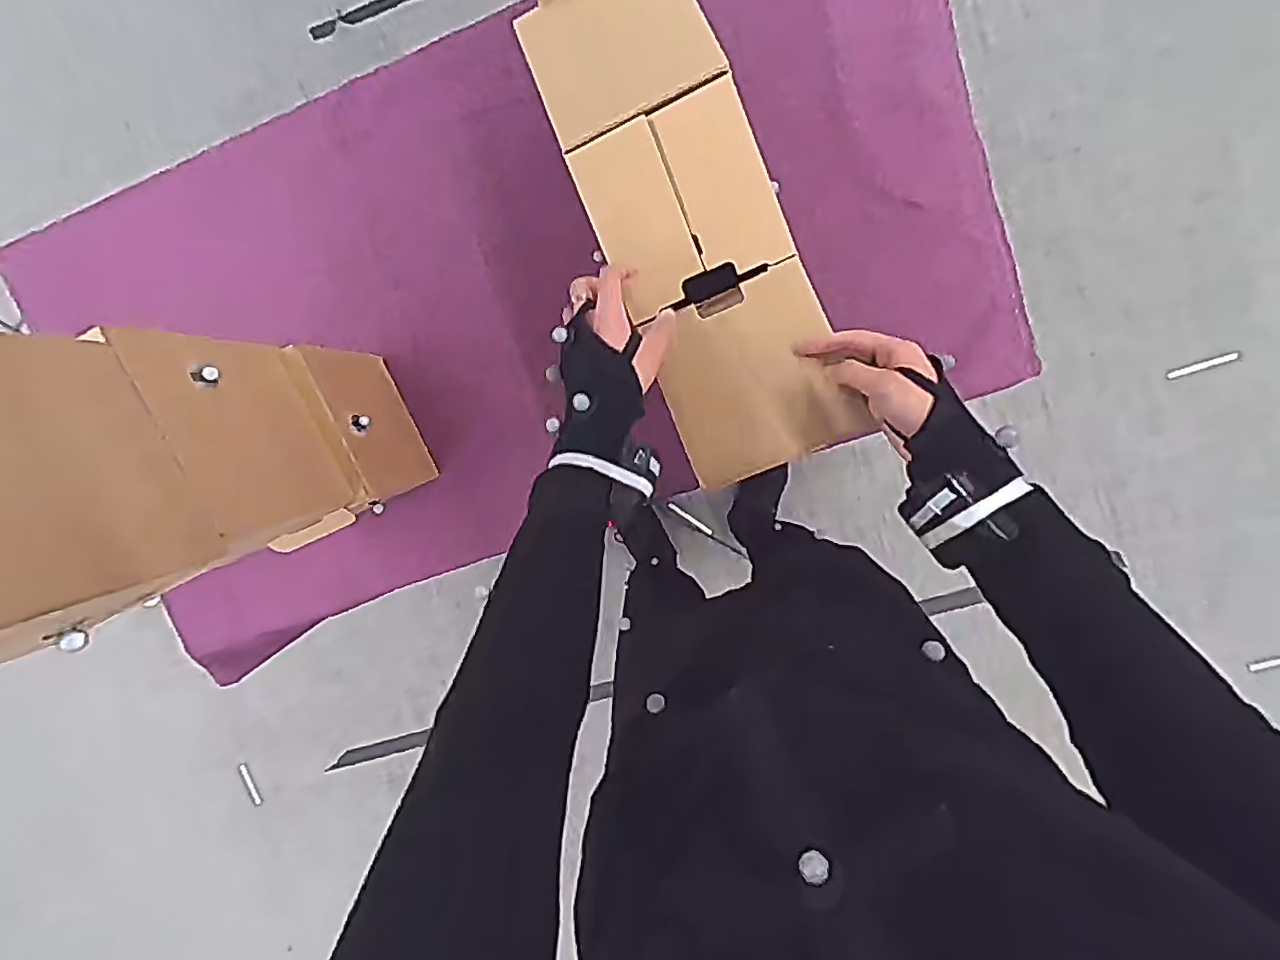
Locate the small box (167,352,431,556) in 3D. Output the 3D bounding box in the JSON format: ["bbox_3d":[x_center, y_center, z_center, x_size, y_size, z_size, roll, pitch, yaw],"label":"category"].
[{"bbox_3d":[-0.385,-0.037,0.647,0.168,0.176,0.179,-23,96,7],"label":"small box"}]

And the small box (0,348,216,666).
[{"bbox_3d":[-0.423,0.027,0.325,0.168,0.176,0.179,-26,95,9],"label":"small box"}]
